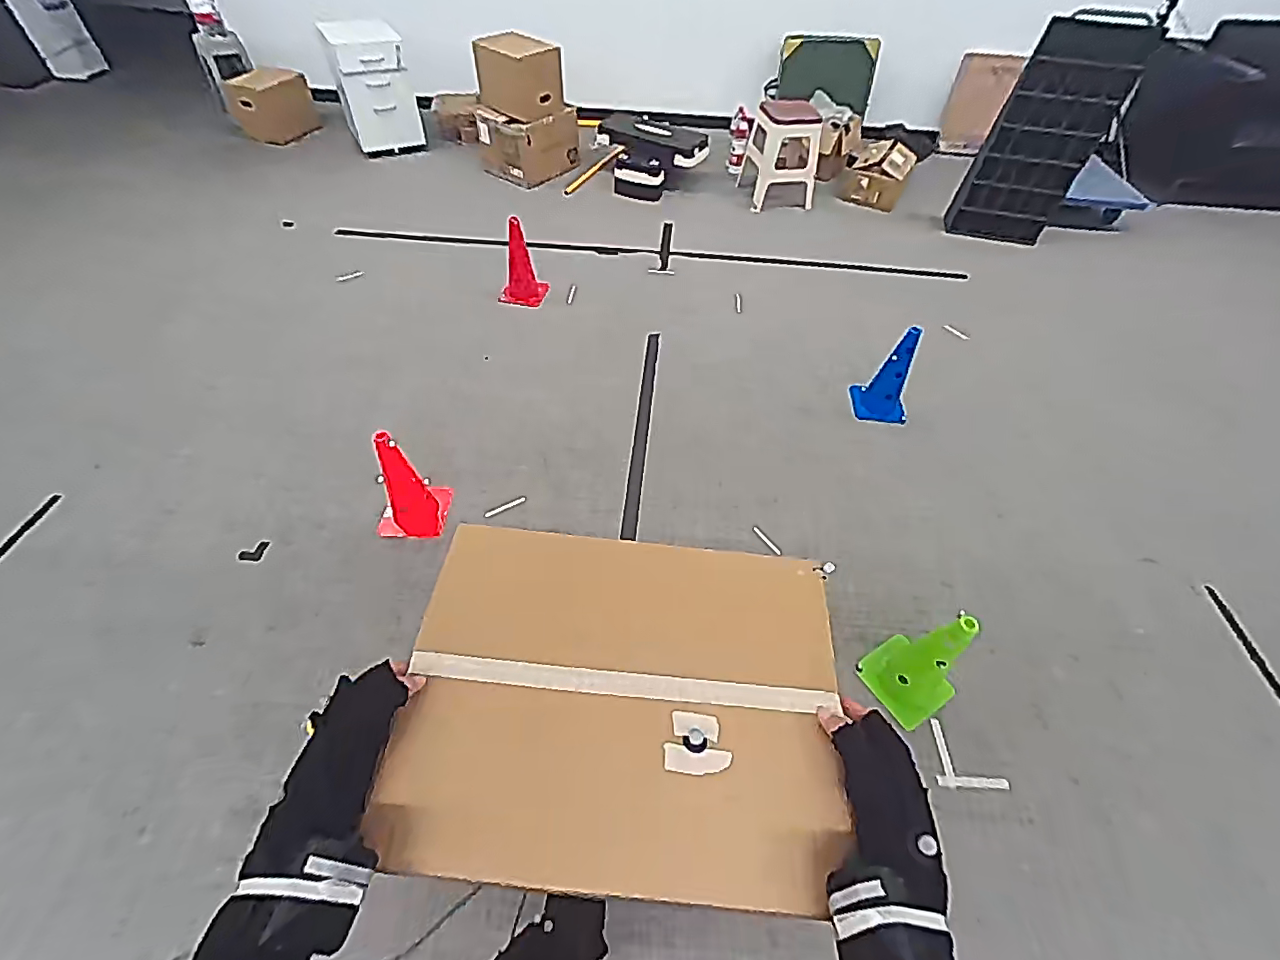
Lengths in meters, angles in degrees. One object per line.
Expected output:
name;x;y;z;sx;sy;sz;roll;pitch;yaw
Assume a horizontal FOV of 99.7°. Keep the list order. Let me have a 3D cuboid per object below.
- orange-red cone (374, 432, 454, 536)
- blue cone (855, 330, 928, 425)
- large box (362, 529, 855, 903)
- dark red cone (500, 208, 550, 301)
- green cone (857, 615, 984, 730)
orange-red cone;-0.715;-0.008;1.622;0.198;0.360;0.199;3;52;1
blue cone;0.977;-0.401;2.050;0.192;0.380;0.193;8;51;3
large box;-0.025;0.284;0.634;0.408;0.320;0.320;6;52;0
dark red cone;-0.531;-1.014;2.424;0.201;0.394;0.202;10;51;4
green cone;0.728;0.435;1.329;0.202;0.368;0.200;-24;57;-23
